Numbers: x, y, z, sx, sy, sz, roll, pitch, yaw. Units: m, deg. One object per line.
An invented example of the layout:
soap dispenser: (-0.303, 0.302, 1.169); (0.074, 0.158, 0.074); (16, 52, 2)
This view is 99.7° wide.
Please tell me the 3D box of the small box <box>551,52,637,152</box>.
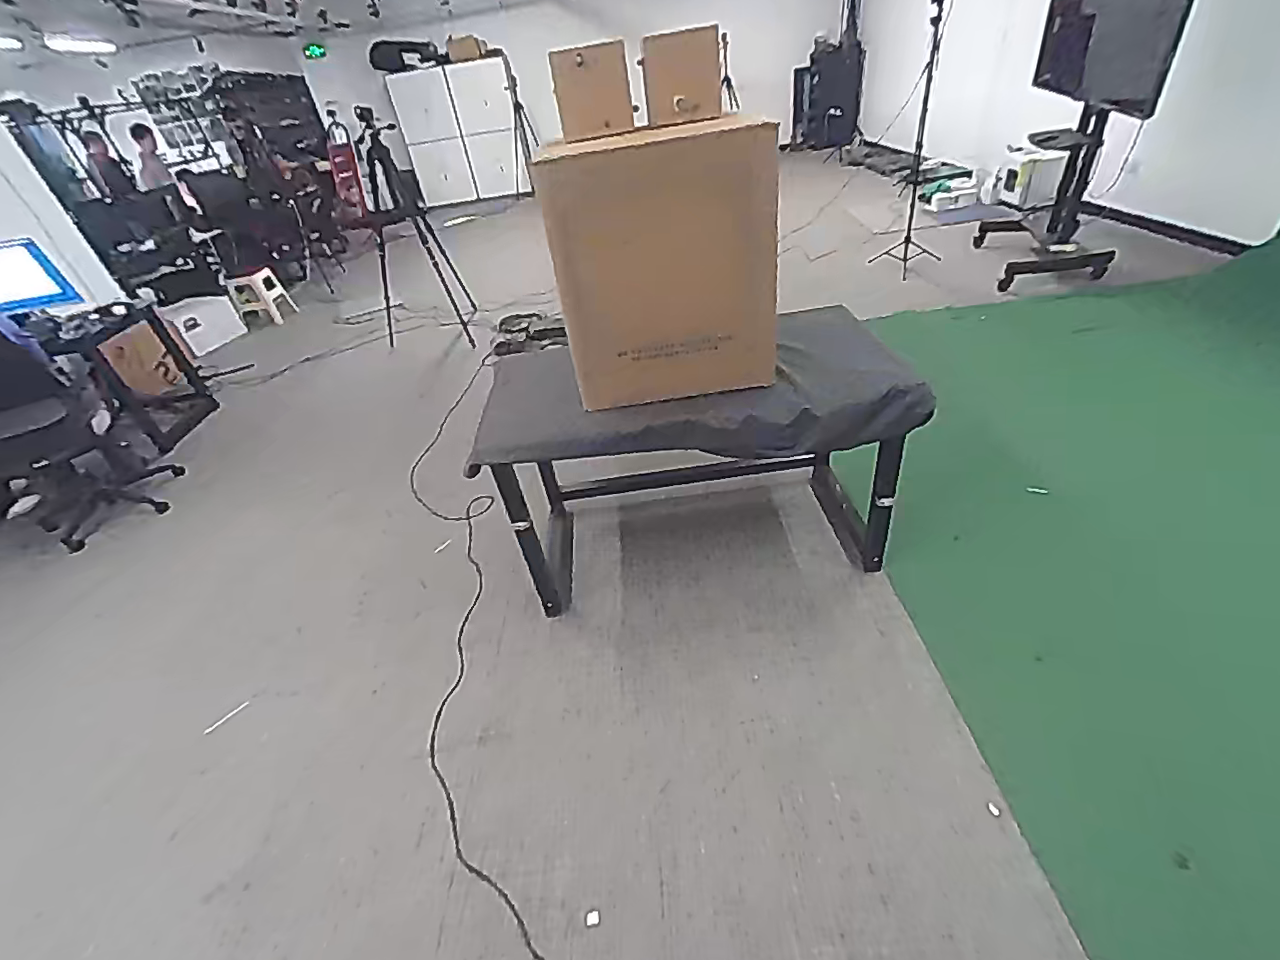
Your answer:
small box: (-0.101, -0.880, 1.270); (0.168, 0.176, 0.179); (-9, 35, 4)
